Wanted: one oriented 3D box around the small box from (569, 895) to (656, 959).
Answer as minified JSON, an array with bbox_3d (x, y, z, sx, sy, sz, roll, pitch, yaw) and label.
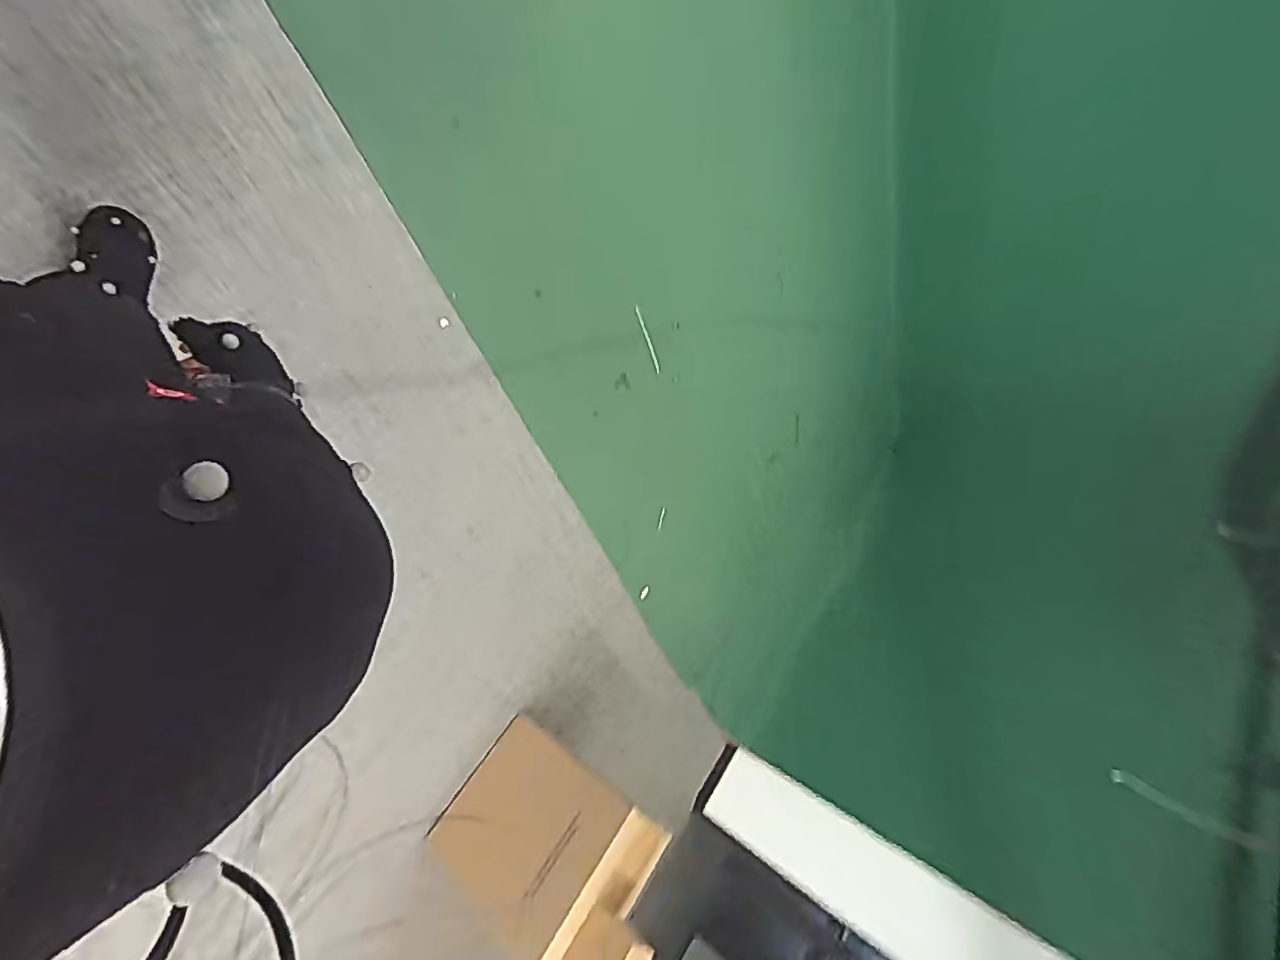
[{"bbox_3d":[-0.086,1.437,1.668,0.179,0.176,0.168,-51,131,-25],"label":"small box"}]
